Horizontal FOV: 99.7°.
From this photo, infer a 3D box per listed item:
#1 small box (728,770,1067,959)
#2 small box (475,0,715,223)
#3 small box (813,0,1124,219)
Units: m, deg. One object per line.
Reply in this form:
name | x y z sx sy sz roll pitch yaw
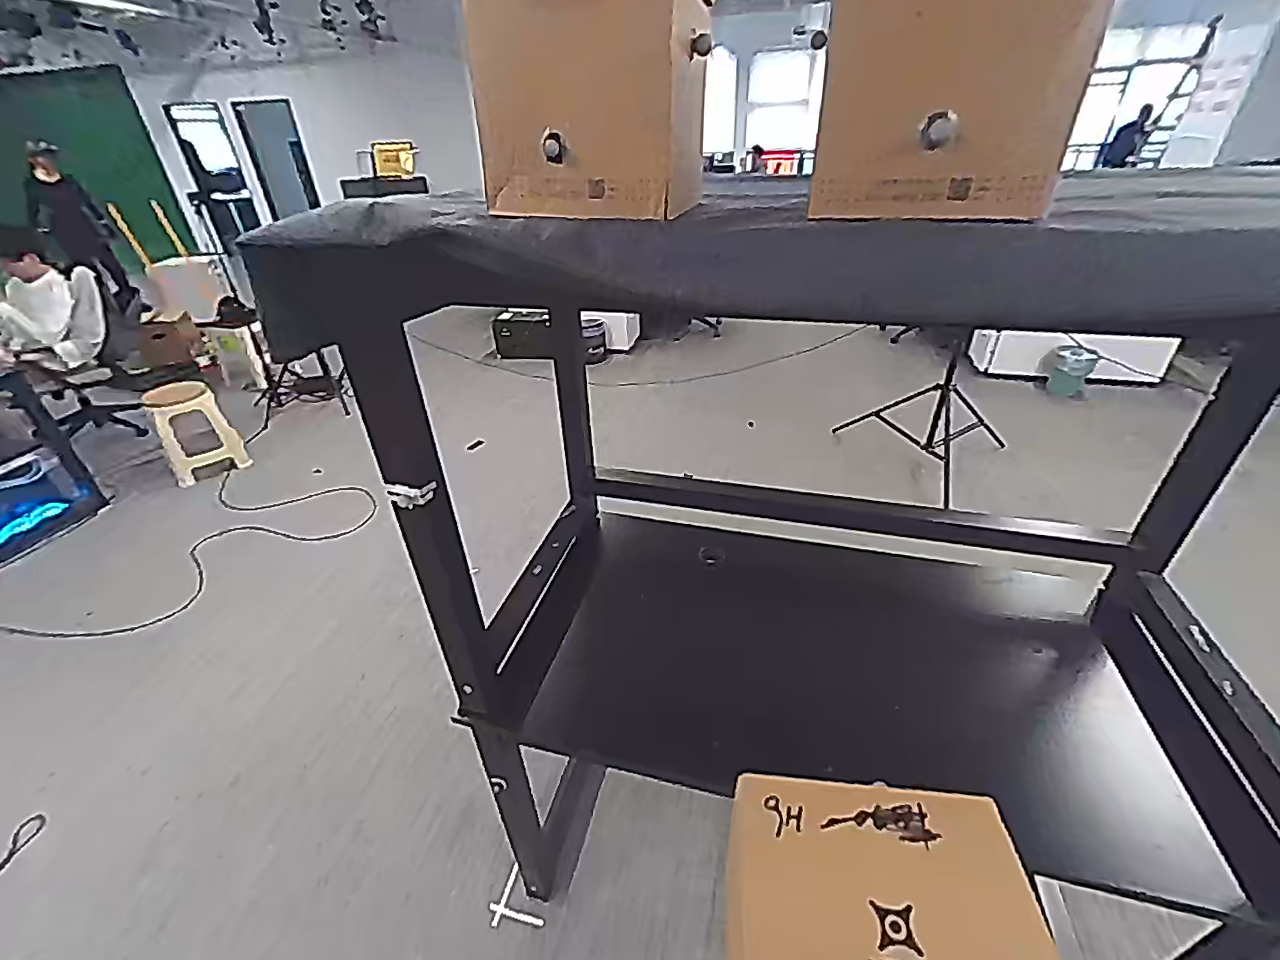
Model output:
small box | 0.141 0.314 0.329 0.168 0.176 0.179 3 34 7
small box | -0.031 -0.339 0.493 0.168 0.176 0.179 7 32 12
small box | 0.233 -0.308 0.426 0.168 0.176 0.179 7 32 14
